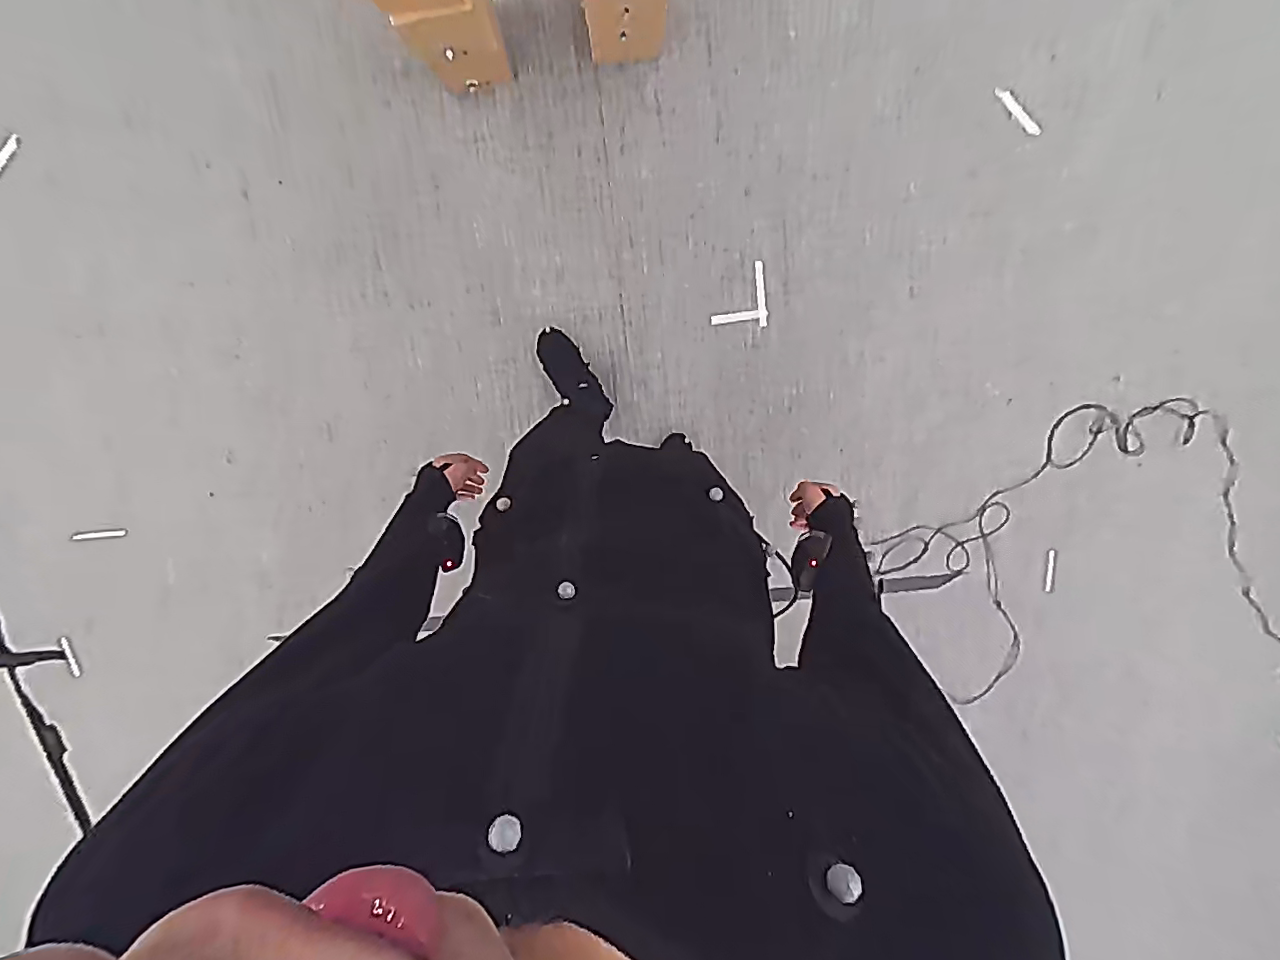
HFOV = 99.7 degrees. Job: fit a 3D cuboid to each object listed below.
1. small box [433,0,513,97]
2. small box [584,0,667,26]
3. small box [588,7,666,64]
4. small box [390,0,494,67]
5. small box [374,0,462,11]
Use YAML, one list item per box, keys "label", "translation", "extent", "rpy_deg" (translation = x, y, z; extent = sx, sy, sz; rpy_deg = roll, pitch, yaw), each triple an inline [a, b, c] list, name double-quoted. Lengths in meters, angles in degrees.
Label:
- label: "small box"
  translation: [-0.411, -1.044, 1.266]
  extent: [0.168, 0.176, 0.179]
  rpy_deg: [-11, 104, 2]
- label: "small box"
  translation: [-0.030, -1.065, 1.100]
  extent: [0.179, 0.176, 0.168]
  rpy_deg: [-4, 104, -2]
- label: "small box"
  translation: [-0.034, -1.104, 1.259]
  extent: [0.179, 0.176, 0.168]
  rpy_deg: [-5, 105, -1]
- label: "small box"
  translation: [-0.415, -0.998, 1.109]
  extent: [0.168, 0.176, 0.179]
  rpy_deg: [-9, 105, 2]
- label: "small box"
  translation: [-0.425, -0.968, 0.949]
  extent: [0.179, 0.176, 0.168]
  rpy_deg: [-5, 104, 0]
